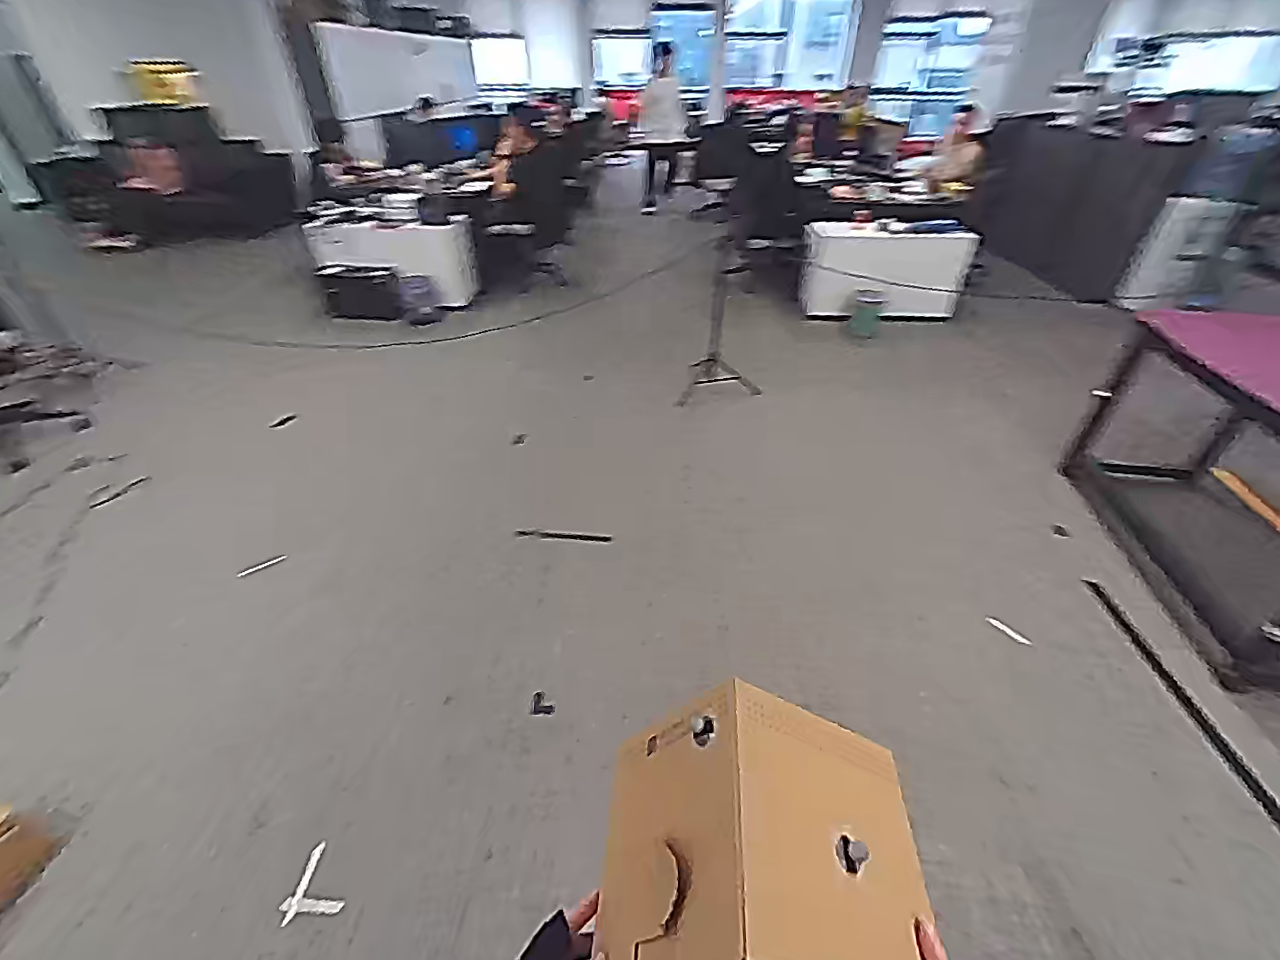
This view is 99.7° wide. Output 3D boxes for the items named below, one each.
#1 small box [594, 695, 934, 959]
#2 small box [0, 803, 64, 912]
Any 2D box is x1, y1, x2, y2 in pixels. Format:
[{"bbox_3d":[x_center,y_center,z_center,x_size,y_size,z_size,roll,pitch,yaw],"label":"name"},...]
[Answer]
[{"bbox_3d":[0.080,0.290,0.415,0.179,0.168,0.176,28,36,-19],"label":"small box"},{"bbox_3d":[-1.510,0.865,1.238,0.168,0.176,0.179,4,37,5],"label":"small box"}]
